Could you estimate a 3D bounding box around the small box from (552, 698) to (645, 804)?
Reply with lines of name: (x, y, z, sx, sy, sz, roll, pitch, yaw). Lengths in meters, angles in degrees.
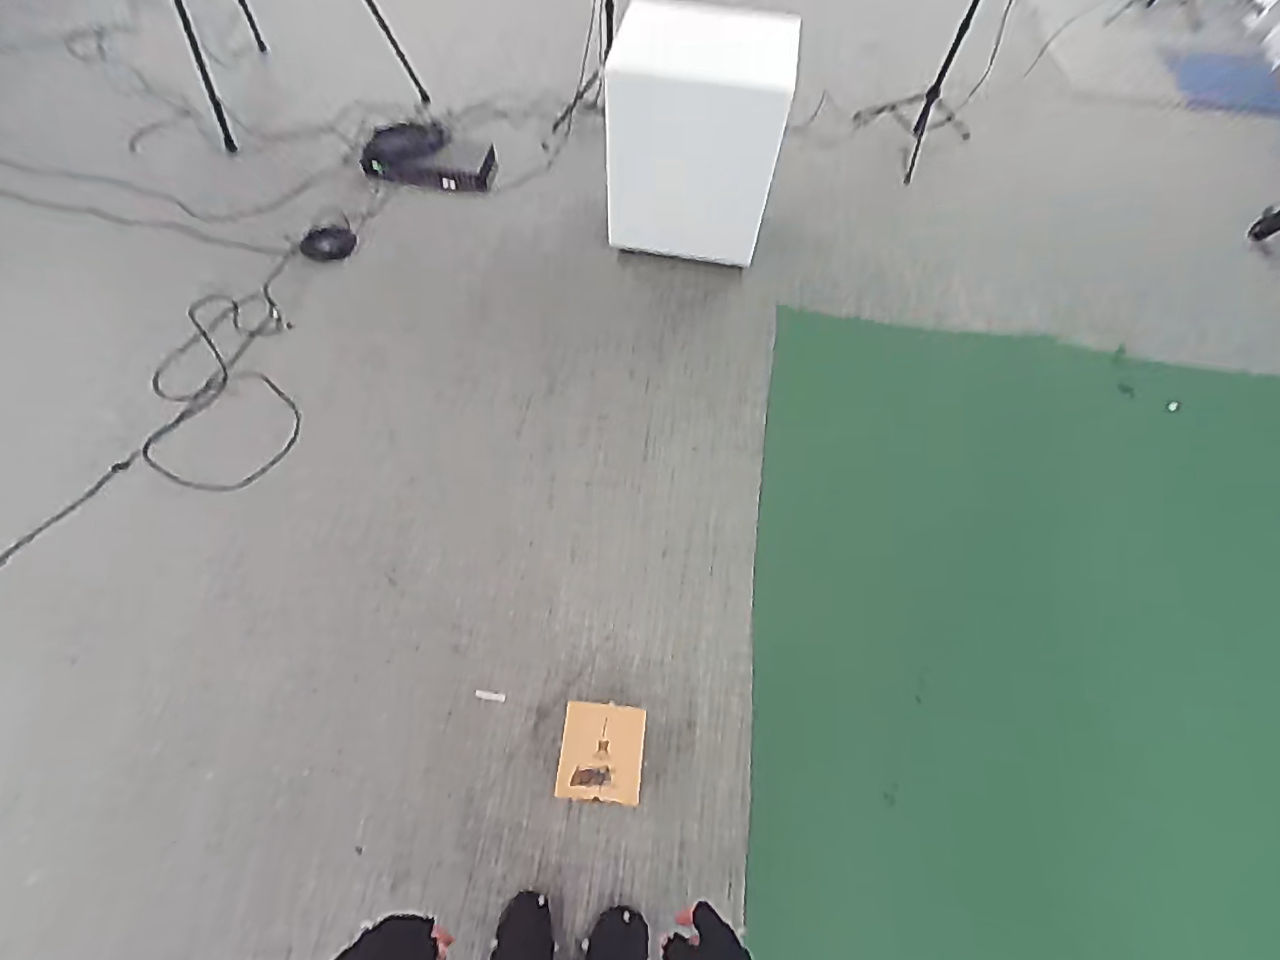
small box: (-0.081, 0.573, 1.147, 0.168, 0.176, 0.179, 6, 62, 1)
